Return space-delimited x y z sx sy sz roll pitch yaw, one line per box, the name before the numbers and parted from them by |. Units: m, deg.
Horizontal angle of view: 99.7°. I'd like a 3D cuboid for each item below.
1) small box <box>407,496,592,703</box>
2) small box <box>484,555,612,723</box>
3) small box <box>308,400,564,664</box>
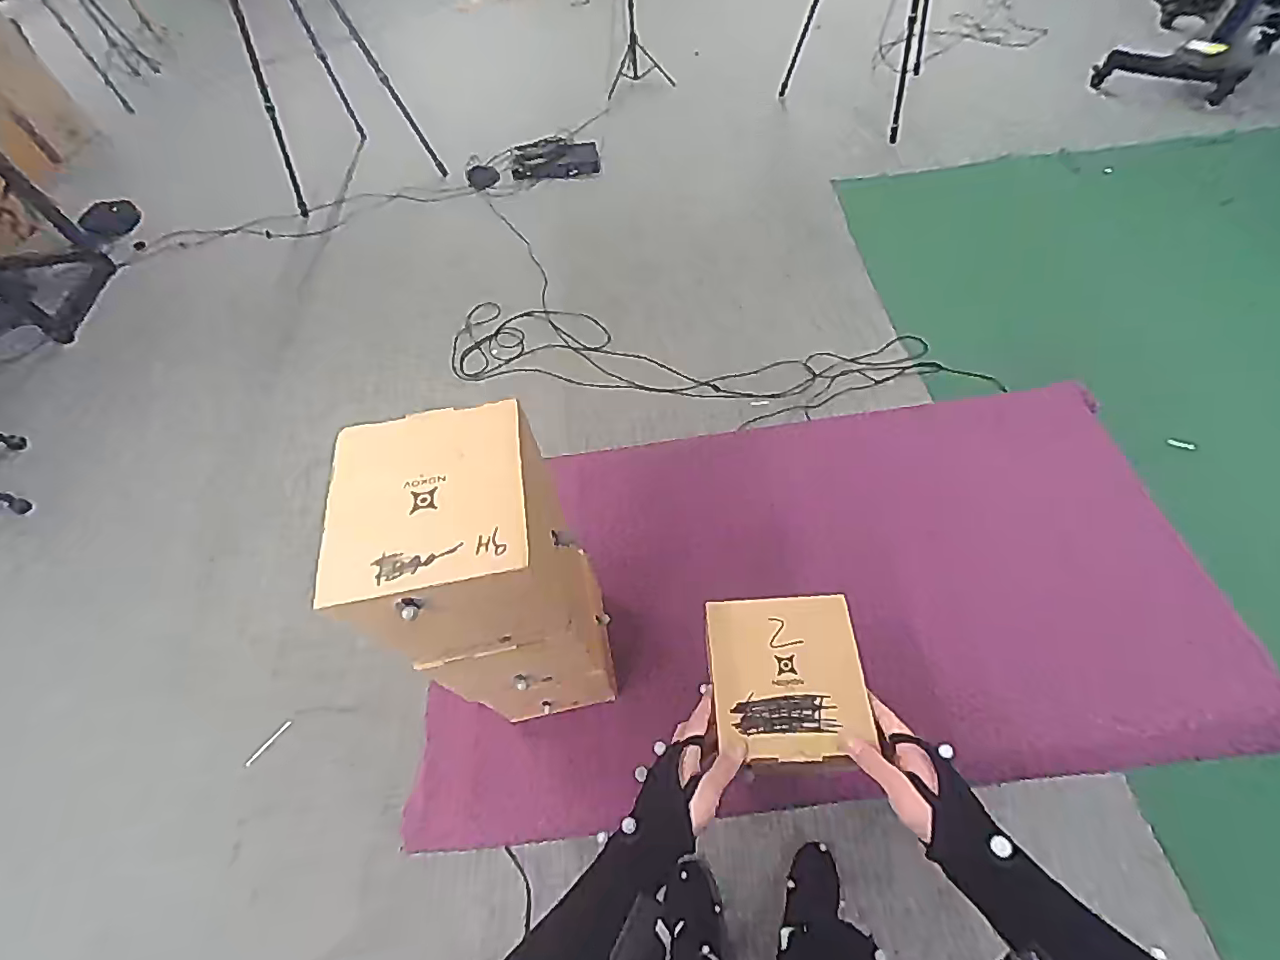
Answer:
small box | -0.160 0.146 0.650 0.168 0.176 0.179 -12 57 -2
small box | -0.140 0.235 0.788 0.168 0.176 0.179 -12 57 -2
small box | -0.173 0.054 0.515 0.168 0.176 0.179 -11 56 -1
